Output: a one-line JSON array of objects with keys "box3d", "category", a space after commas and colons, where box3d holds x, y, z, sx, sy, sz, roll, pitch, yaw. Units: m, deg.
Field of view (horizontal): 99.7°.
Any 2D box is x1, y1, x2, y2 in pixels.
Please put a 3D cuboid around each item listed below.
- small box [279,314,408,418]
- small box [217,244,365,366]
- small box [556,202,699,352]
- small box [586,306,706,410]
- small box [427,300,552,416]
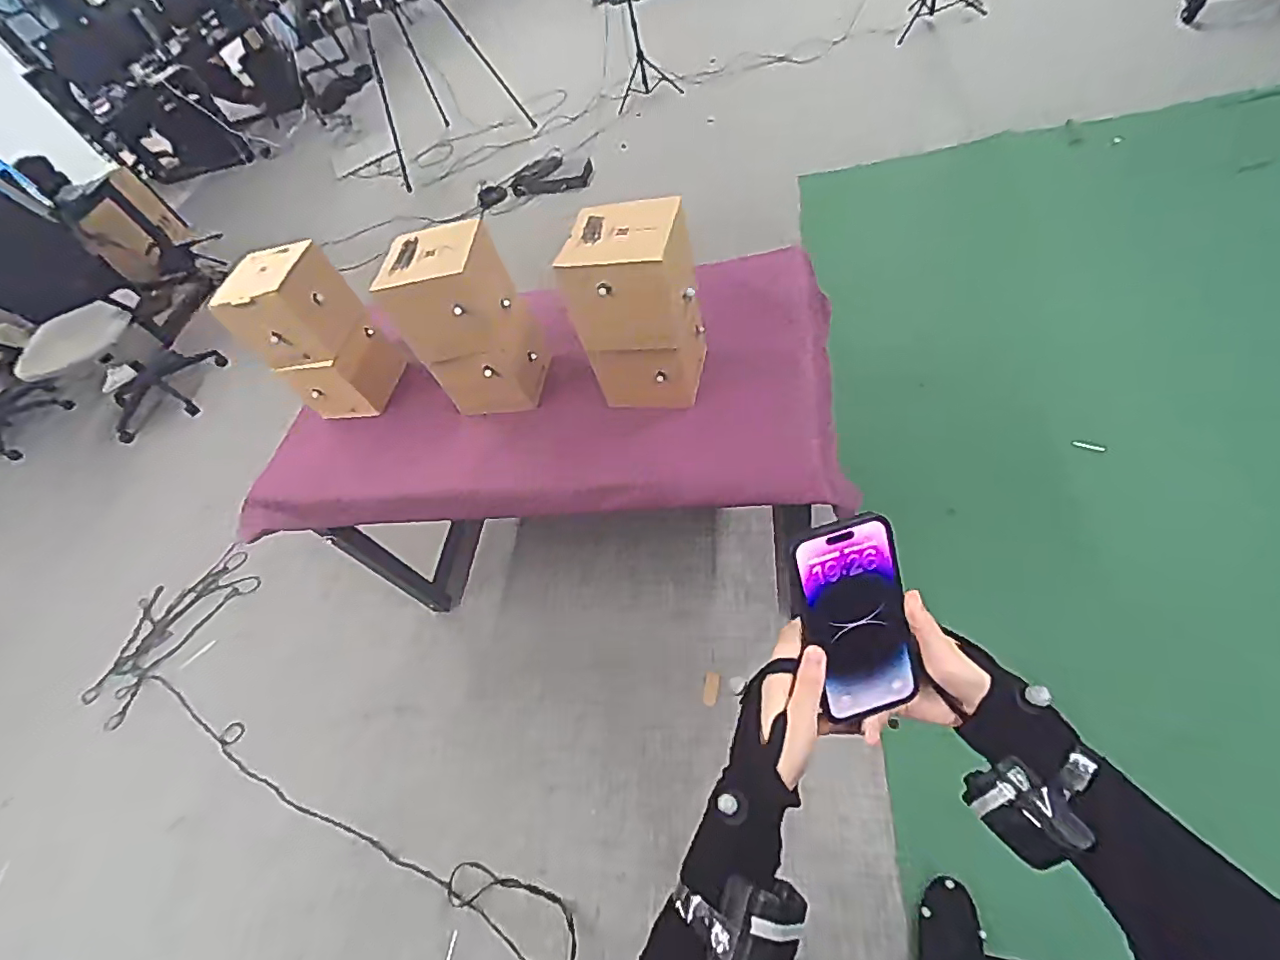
[{"box3d": [-0.675, -0.255, 1.256, 0.168, 0.176, 0.179, -1, 55, 16], "category": "small box"}, {"box3d": [-0.714, -0.355, 1.131, 0.168, 0.176, 0.179, -5, 55, 13], "category": "small box"}, {"box3d": [-0.011, -0.329, 0.897, 0.179, 0.176, 0.168, 4, 56, 19], "category": "small box"}, {"box3d": [0.023, -0.248, 1.037, 0.179, 0.176, 0.168, 3, 56, 20], "category": "small box"}, {"box3d": [-0.303, -0.250, 1.137, 0.179, 0.176, 0.168, -2, 55, 16], "category": "small box"}]
